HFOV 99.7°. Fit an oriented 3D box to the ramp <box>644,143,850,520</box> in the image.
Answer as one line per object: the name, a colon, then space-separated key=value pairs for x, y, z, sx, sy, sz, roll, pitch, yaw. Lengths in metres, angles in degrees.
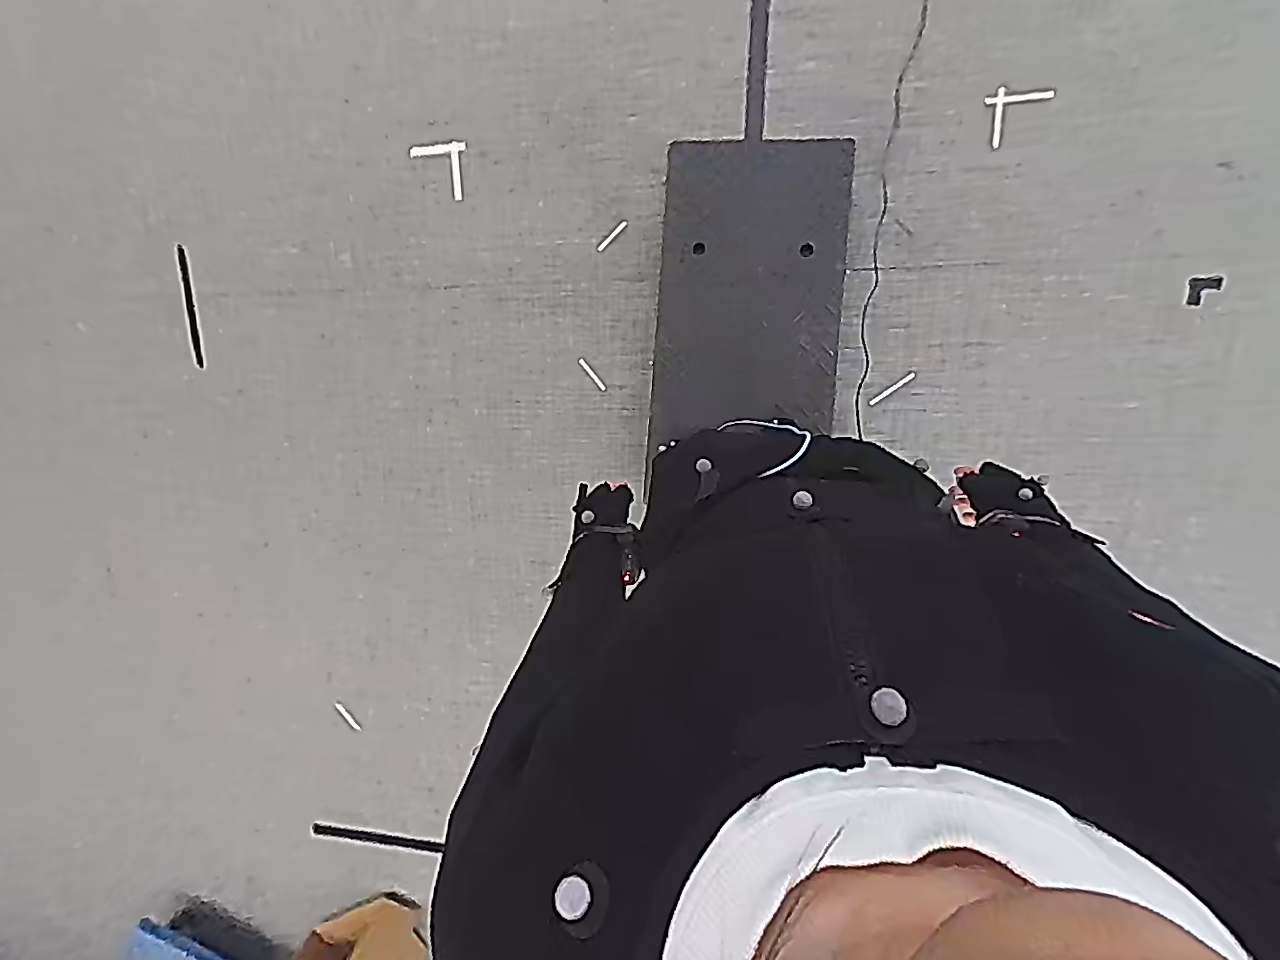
ramp: x=0.280 y=-0.403 z=1.461 sx=0.509 sy=0.206 sz=0.991 roll=3 pitch=100 yaw=10
